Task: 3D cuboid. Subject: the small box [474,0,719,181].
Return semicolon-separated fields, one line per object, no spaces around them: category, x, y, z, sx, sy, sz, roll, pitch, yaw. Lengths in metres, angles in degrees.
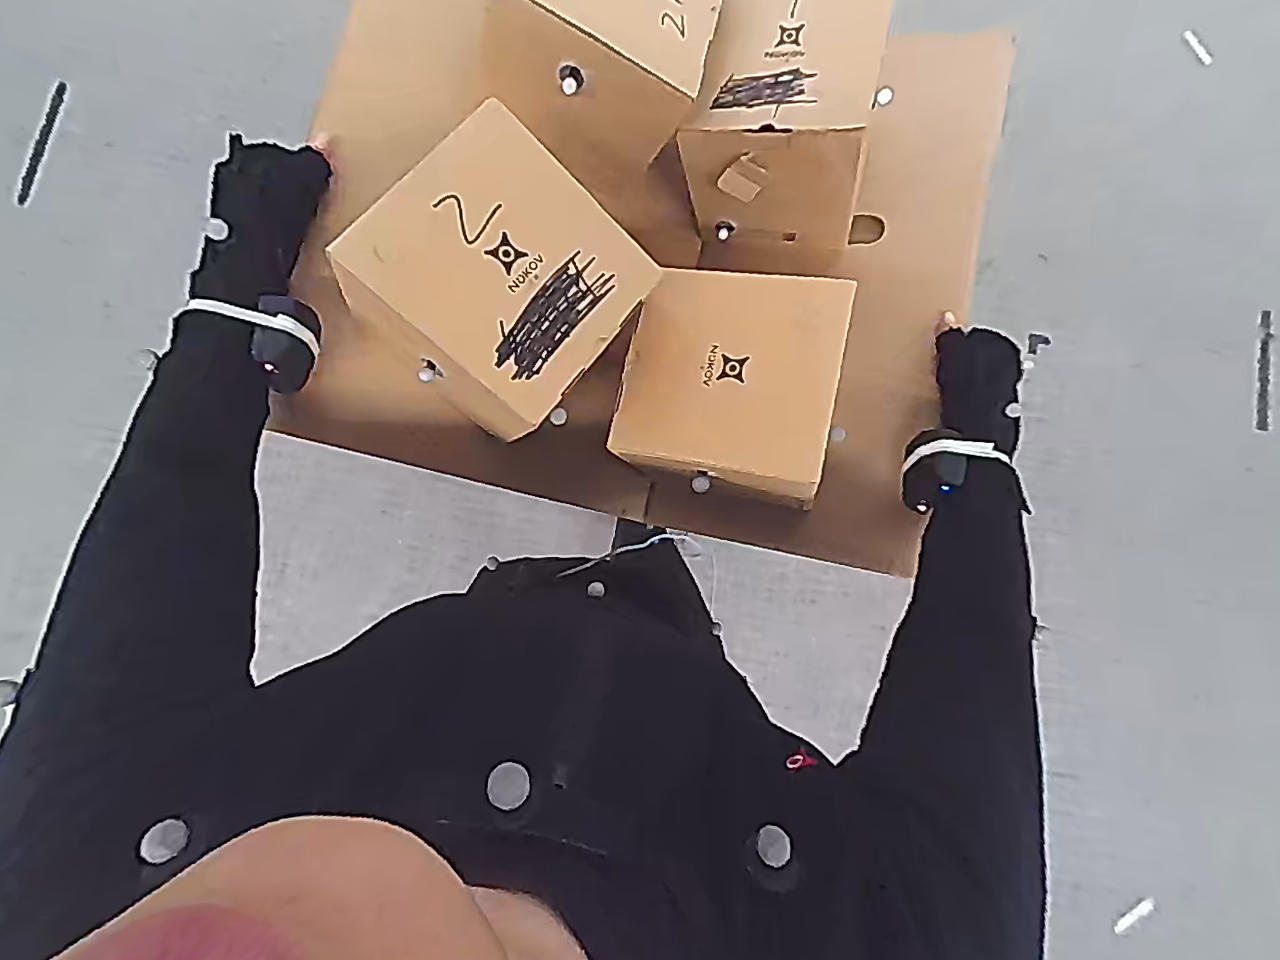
small box;-0.043;-0.420;0.501;0.179;0.176;0.168;17;83;-22
